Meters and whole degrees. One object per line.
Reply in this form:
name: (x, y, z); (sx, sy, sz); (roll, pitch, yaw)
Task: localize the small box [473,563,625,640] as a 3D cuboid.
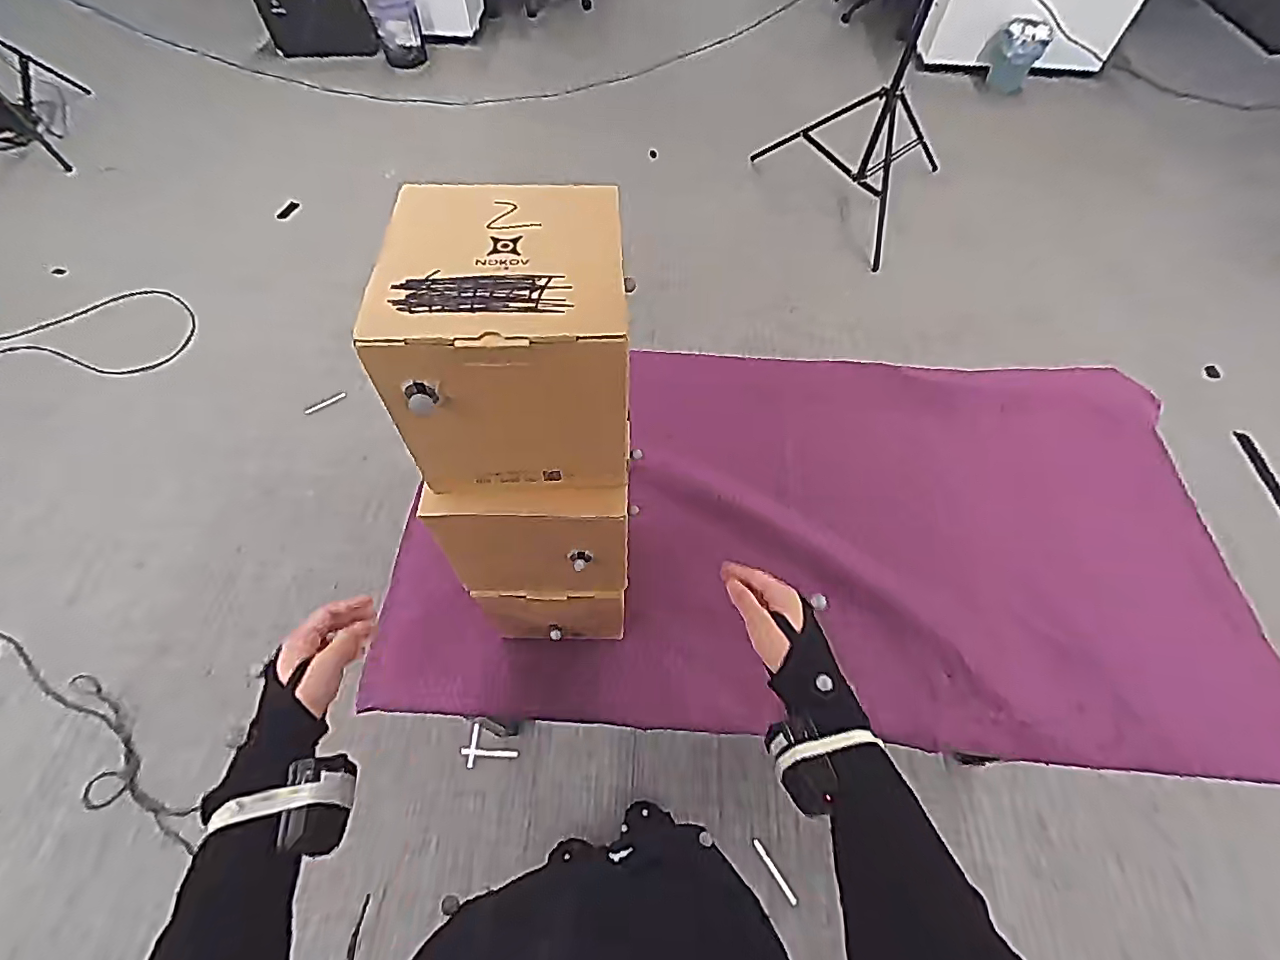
small box: (-0.104, 0.096, 0.702); (0.168, 0.176, 0.179); (1, 59, -1)

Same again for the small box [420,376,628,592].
small box: (-0.101, 0.010, 0.564); (0.179, 0.176, 0.168); (-1, 57, -1)
